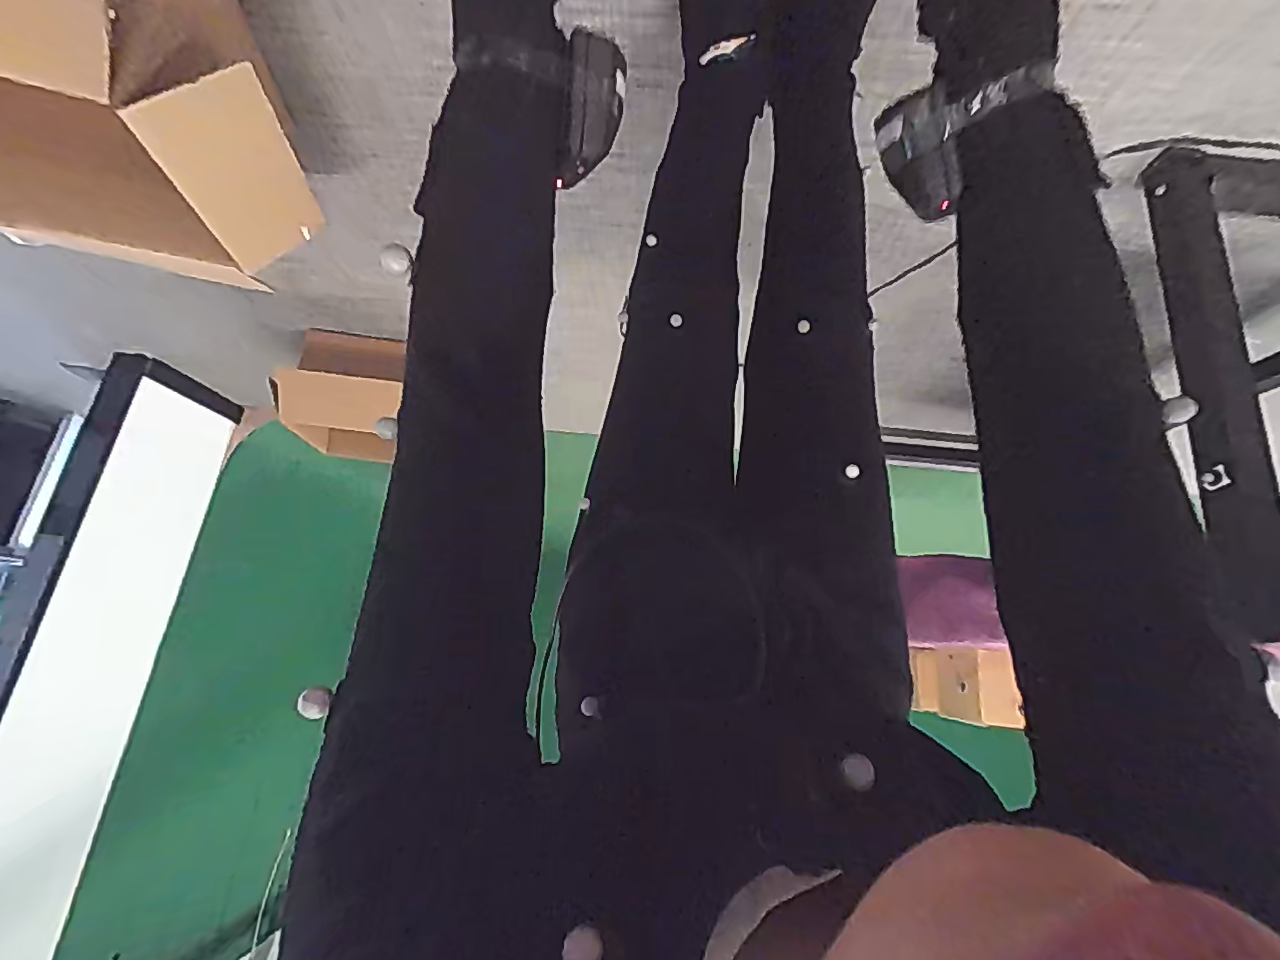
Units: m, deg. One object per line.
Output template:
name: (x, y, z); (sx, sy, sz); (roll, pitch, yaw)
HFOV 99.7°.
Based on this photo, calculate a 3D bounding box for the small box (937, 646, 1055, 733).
small box: (0.831, 0.489, 1.283); (0.179, 0.176, 0.168); (8, 163, -2)
